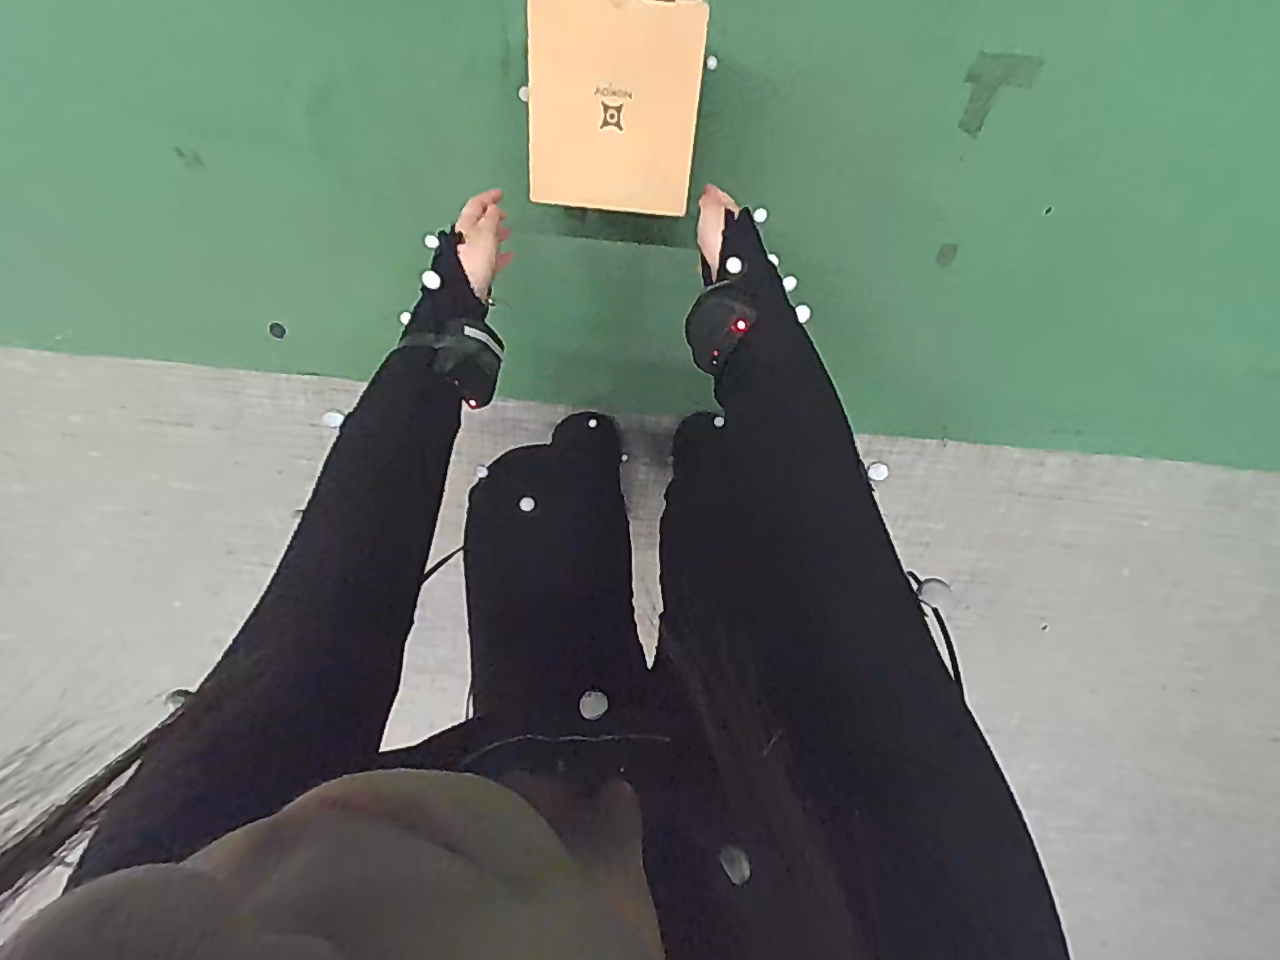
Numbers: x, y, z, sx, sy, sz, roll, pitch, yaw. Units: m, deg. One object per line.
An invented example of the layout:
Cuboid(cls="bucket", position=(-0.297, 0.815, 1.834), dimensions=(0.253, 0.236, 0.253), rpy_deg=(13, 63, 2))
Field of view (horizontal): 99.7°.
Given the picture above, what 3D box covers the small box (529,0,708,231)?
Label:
Cuboid(cls="small box", position=(-0.022, -0.383, 0.592), dimensions=(0.168, 0.176, 0.179), rpy_deg=(6, 119, 0))
